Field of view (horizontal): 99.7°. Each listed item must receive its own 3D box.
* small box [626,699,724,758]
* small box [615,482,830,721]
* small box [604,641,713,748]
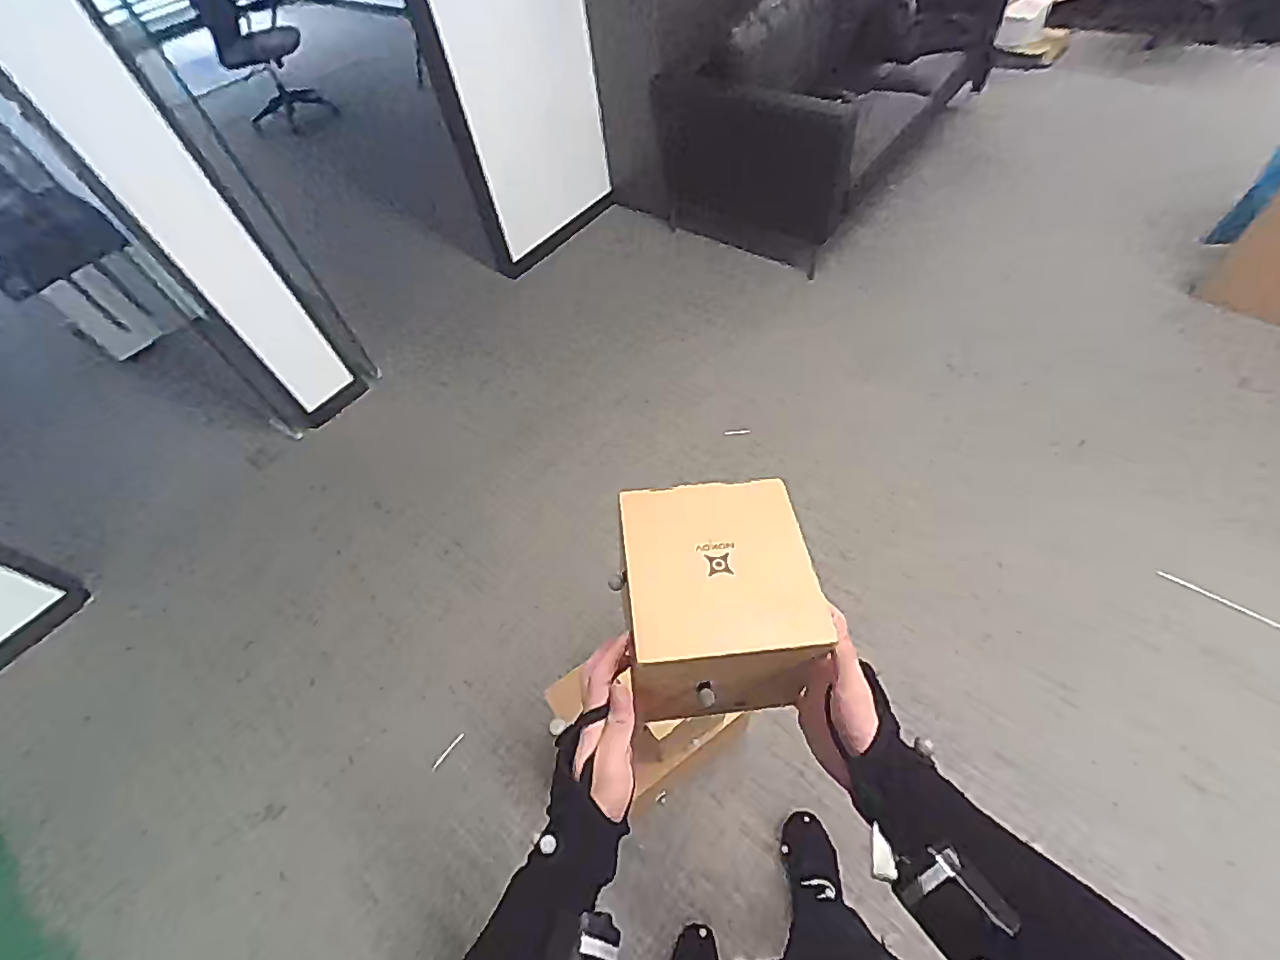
[{"bbox_3d":[0.066,0.466,1.159,0.168,0.176,0.179,-30,59,-13],"label":"small box"},{"bbox_3d":[0.066,0.127,0.539,0.168,0.176,0.179,-5,49,-4],"label":"small box"},{"bbox_3d":[0.054,0.380,1.021,0.168,0.176,0.179,-31,58,-15],"label":"small box"}]
